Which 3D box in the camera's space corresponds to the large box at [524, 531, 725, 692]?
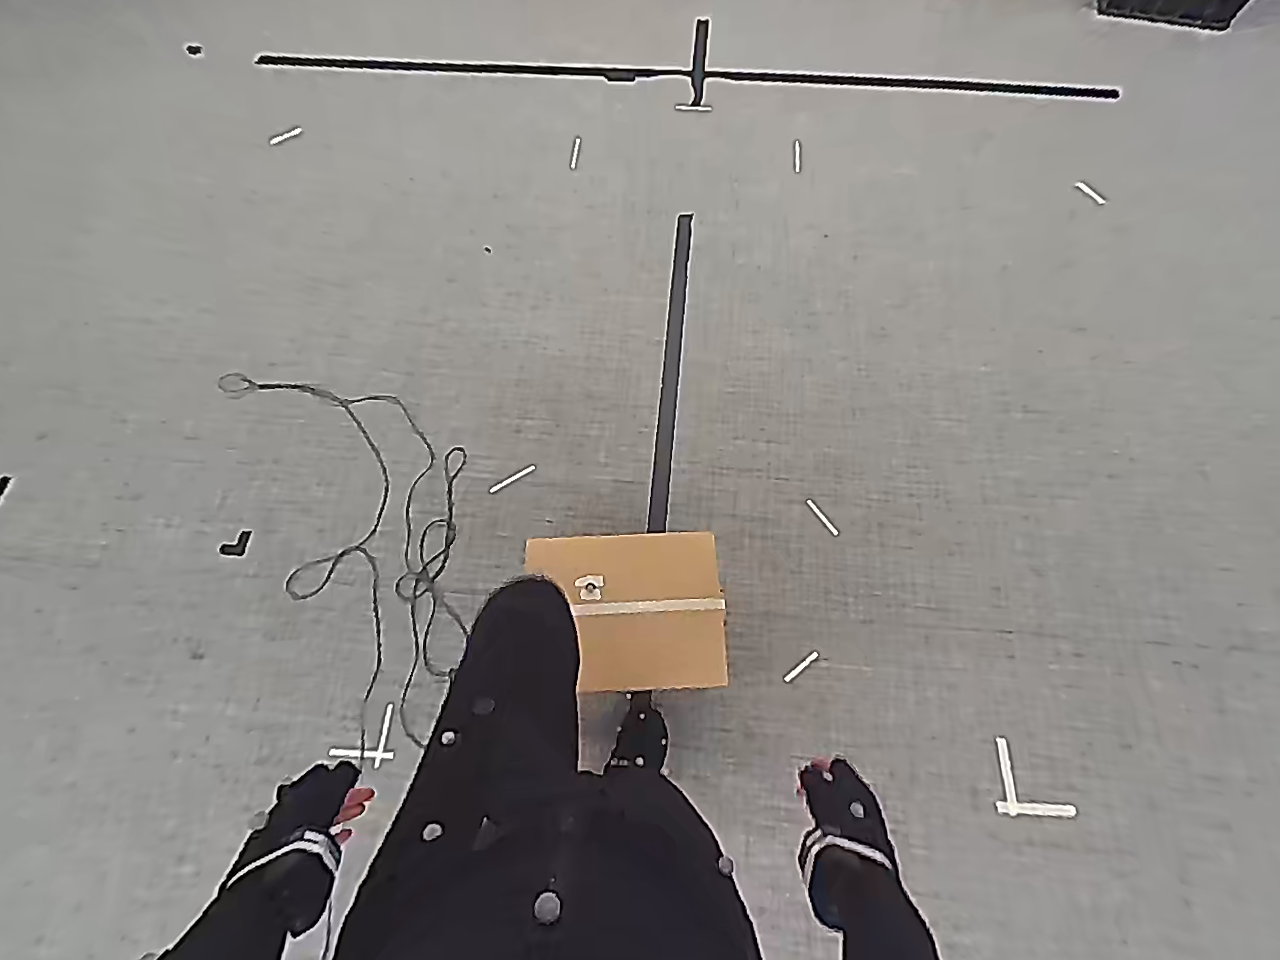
[{"bbox_3d":[-0.032,0.312,1.250,0.408,0.320,0.320,-2,69,1],"label":"large box"}]
